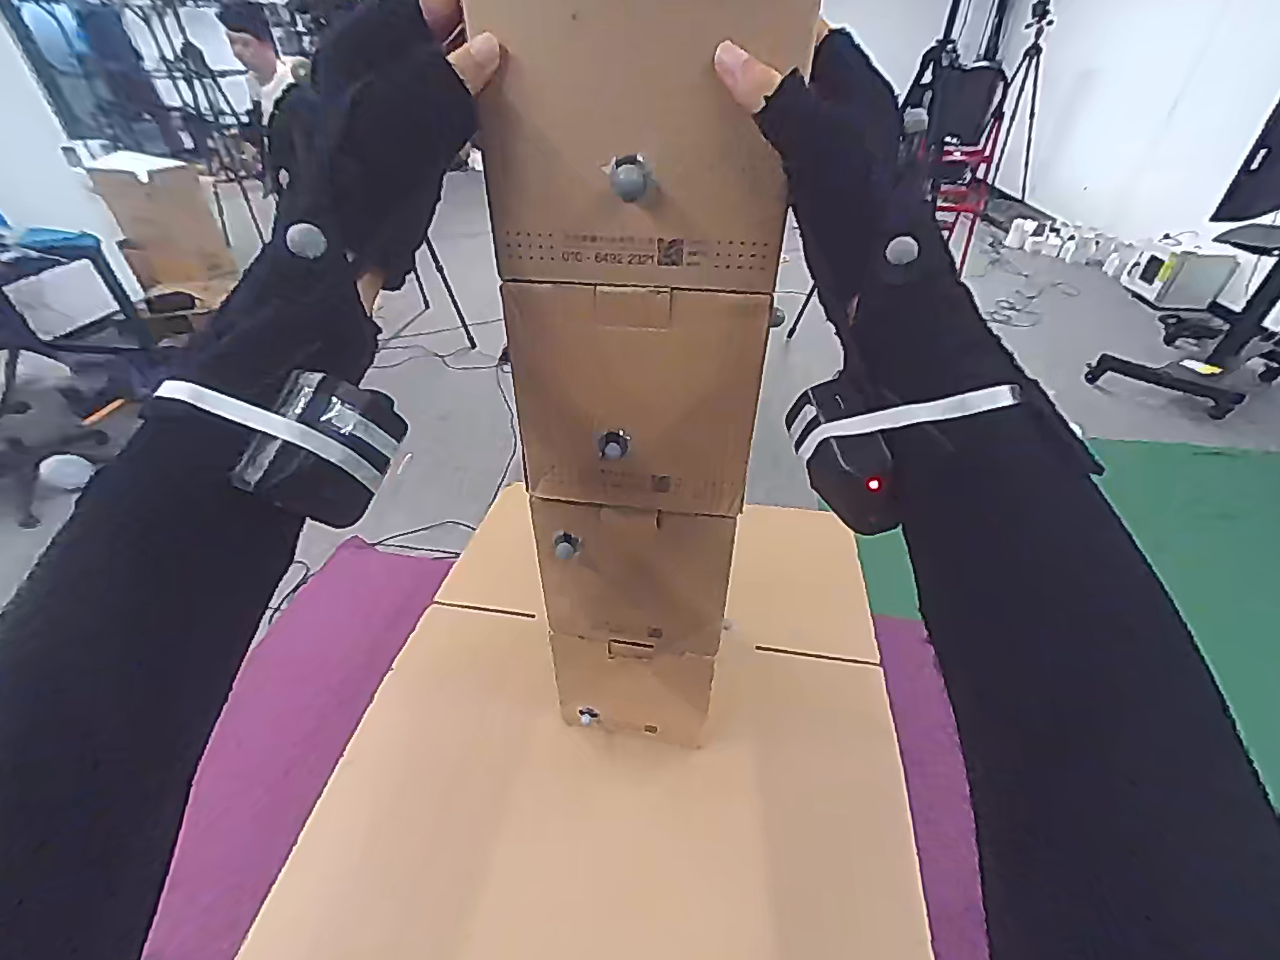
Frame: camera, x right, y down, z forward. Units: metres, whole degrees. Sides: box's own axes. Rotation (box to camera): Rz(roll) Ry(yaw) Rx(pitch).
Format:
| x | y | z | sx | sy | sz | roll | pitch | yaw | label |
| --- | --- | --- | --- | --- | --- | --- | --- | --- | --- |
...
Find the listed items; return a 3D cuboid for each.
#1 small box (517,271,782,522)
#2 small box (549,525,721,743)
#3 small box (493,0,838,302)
| x | y | z | sx | sy | sz | roll | pitch | yaw | label |
| --- | --- | --- | --- | --- | --- | --- | --- | --- | --- |
| 0.012 | -0.091 | 0.435 | 0.168 | 0.176 | 0.179 | 6 | 36 | 5 | small box |
| 0.004 | 0.177 | 0.625 | 0.168 | 0.176 | 0.179 | 5 | 38 | 6 | small box |
| 0.016 | -0.225 | 0.340 | 0.168 | 0.176 | 0.179 | 6 | 36 | 6 | small box |
